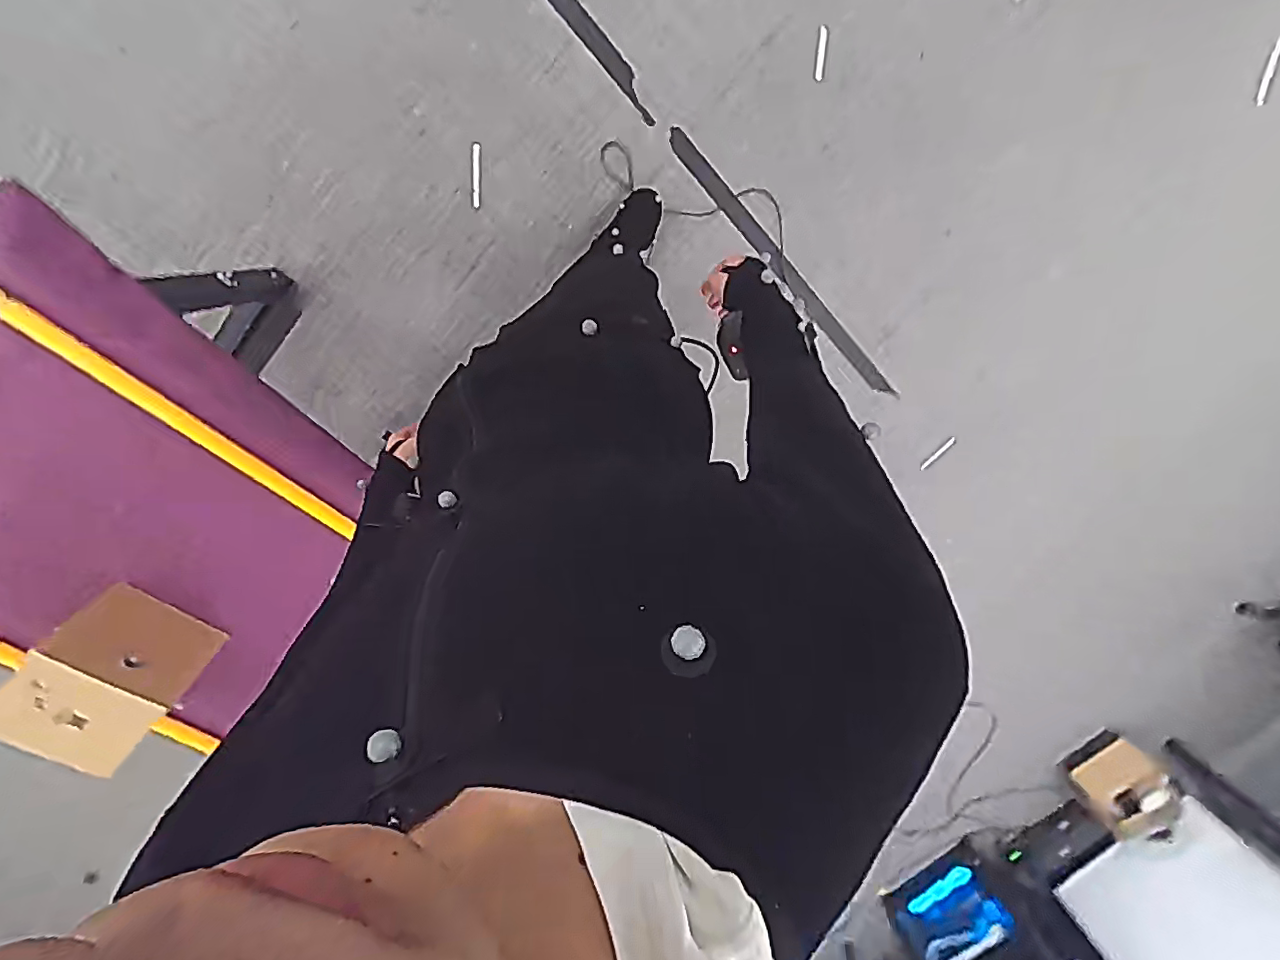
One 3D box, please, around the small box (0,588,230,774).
[{"bbox_3d":[-0.786,0.297,0.824,0.179,0.176,0.168,40,100,-21],"label":"small box"}]
